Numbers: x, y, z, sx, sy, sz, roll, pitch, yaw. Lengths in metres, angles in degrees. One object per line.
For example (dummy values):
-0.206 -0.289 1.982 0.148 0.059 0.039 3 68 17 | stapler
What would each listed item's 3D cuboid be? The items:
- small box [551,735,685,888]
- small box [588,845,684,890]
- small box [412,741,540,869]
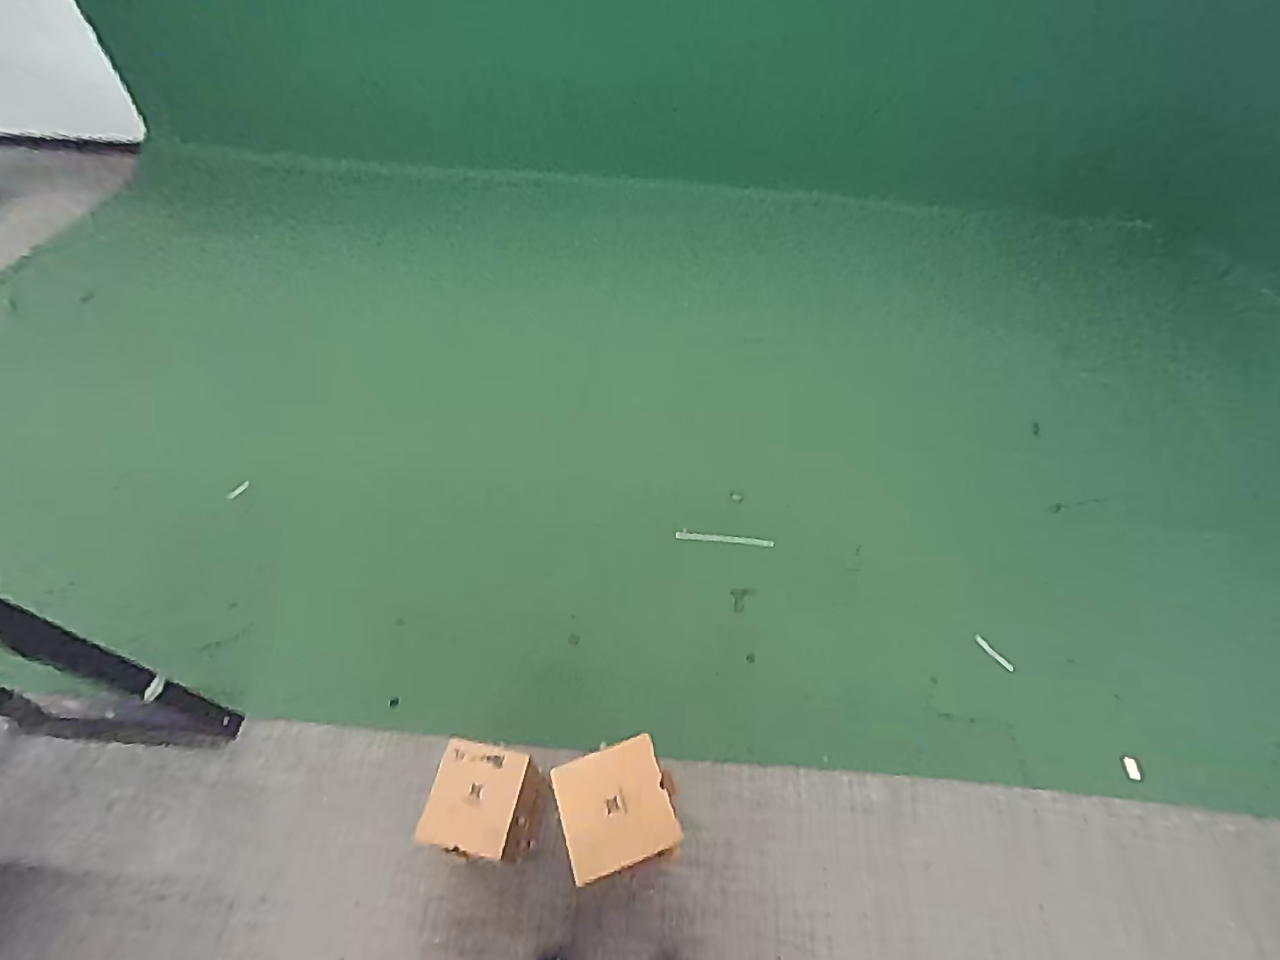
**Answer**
-0.038 0.560 0.910 0.179 0.176 0.168 -15 55 -14 | small box
-0.027 0.664 1.036 0.179 0.176 0.168 -11 55 -11 | small box
-0.303 0.633 1.048 0.168 0.176 0.179 9 52 7 | small box
